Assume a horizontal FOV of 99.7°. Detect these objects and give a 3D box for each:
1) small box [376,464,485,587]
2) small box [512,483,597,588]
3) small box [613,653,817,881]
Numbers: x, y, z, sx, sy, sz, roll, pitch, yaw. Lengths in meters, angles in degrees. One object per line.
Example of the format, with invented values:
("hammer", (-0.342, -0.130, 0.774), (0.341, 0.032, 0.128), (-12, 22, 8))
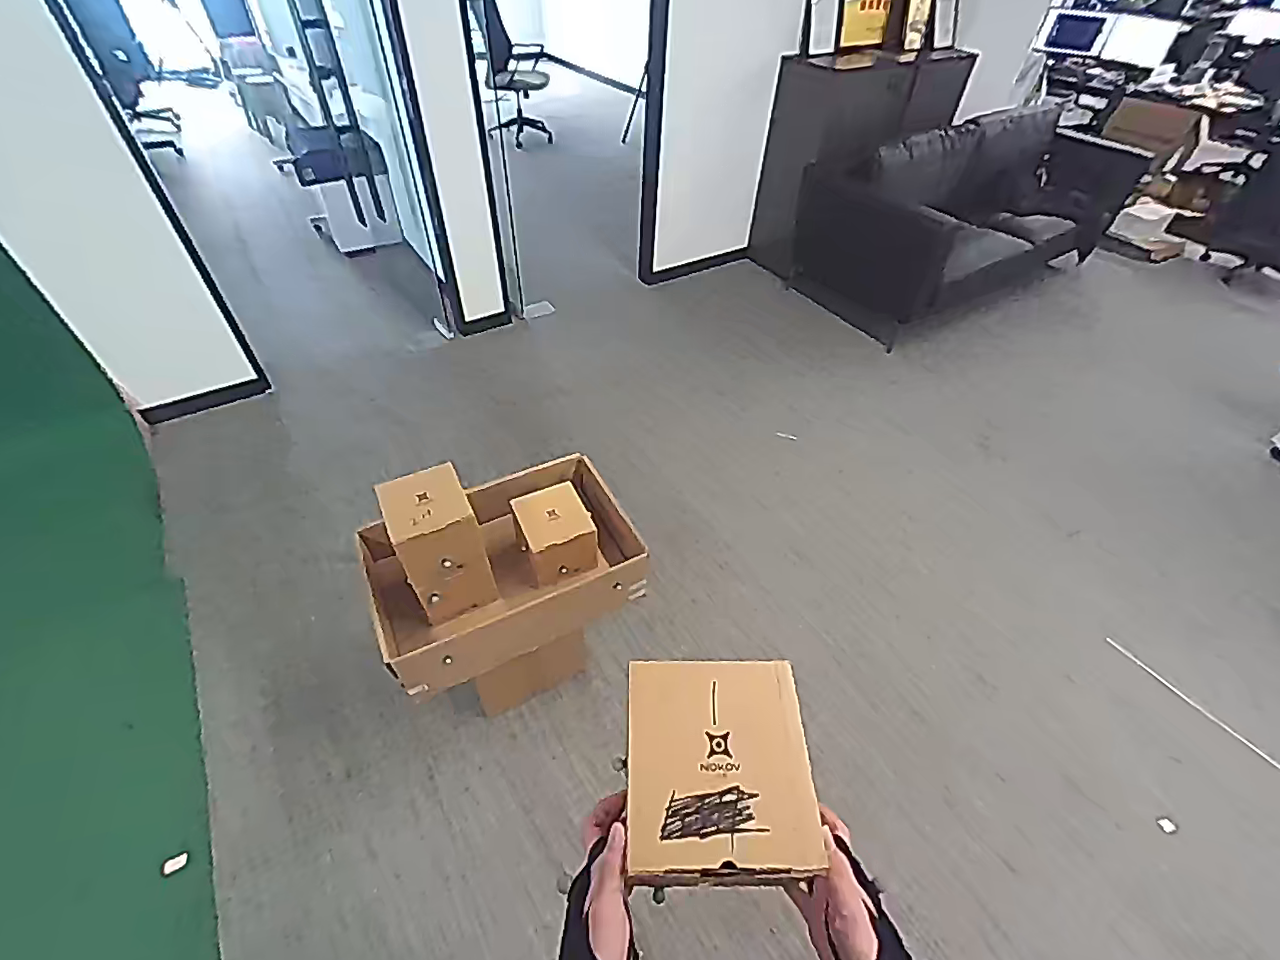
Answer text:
("small box", (-0.453, 0.099, 1.177), (0.168, 0.176, 0.179), (-20, 51, -21))
("small box", (-0.218, 0.143, 1.379), (0.168, 0.176, 0.179), (-19, 51, -20))
("small box", (0.061, 0.290, 0.541), (0.168, 0.176, 0.179), (0, 49, -1))
